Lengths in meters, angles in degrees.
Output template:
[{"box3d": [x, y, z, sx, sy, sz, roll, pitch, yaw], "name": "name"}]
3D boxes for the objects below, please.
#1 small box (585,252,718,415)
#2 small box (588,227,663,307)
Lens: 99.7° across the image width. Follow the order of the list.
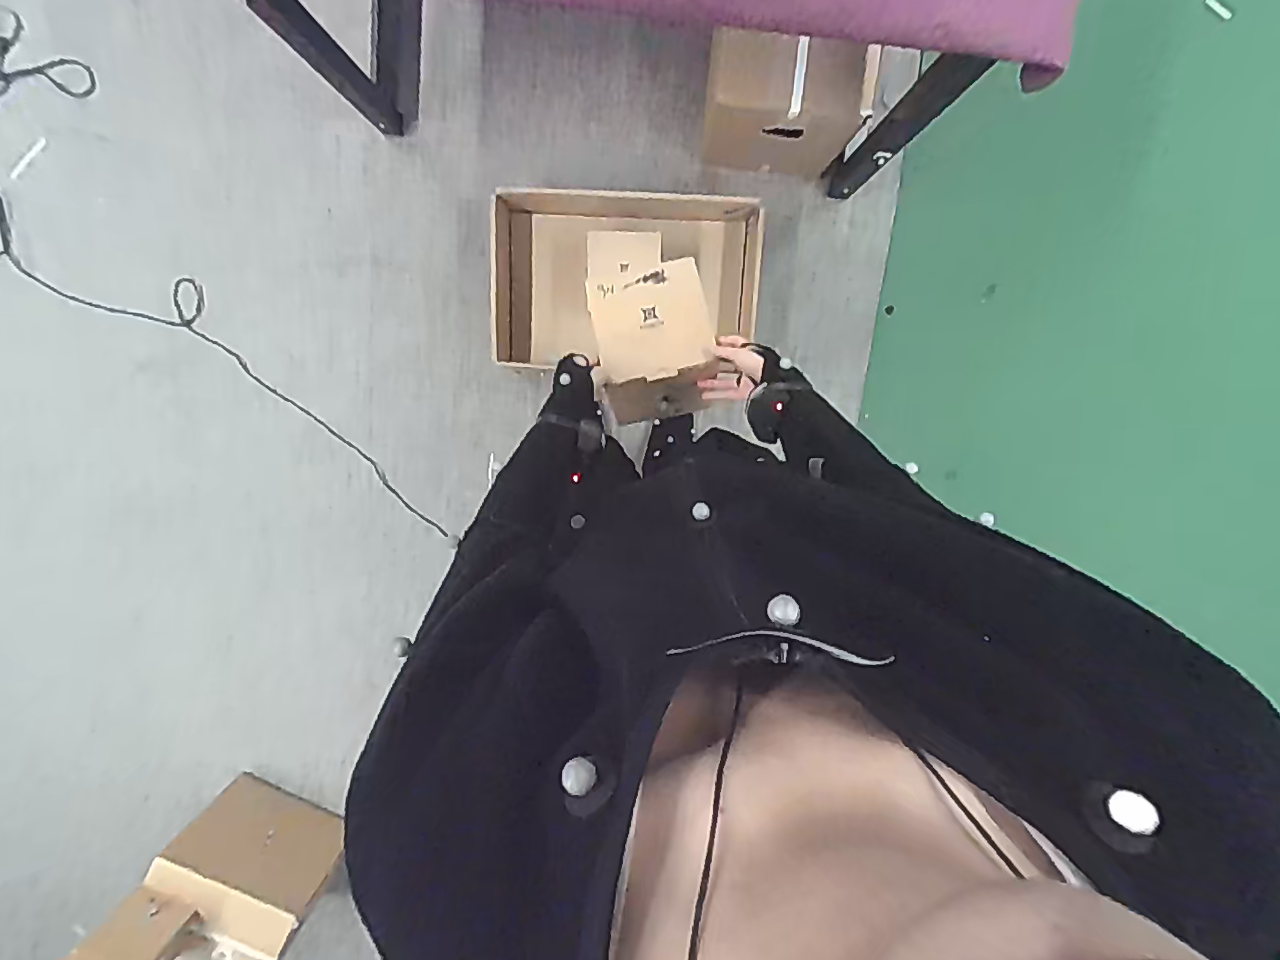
[{"box3d": [0.021, -0.212, 0.834, 0.168, 0.176, 0.179, -11, 76, 2], "name": "small box"}, {"box3d": [-0.033, -0.483, 1.281, 0.168, 0.176, 0.179, 2, 101, 1], "name": "small box"}]
